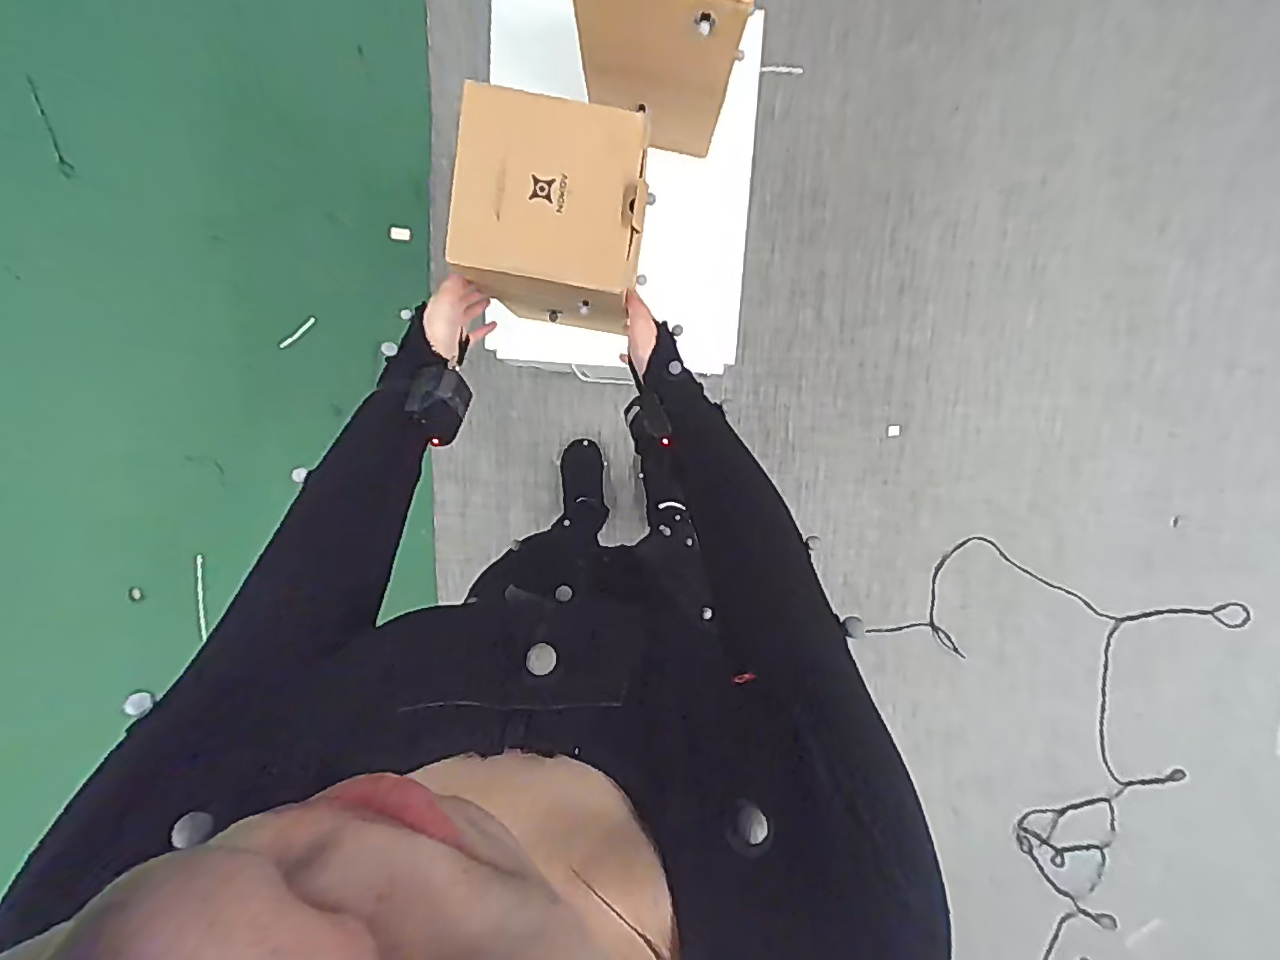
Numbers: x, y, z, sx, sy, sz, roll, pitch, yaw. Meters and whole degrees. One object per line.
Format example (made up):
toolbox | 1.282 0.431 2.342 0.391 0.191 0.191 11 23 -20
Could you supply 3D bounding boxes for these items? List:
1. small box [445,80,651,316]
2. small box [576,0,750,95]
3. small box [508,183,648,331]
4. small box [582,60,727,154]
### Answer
small box | -0.090 -0.284 0.589 0.179 0.176 0.168 9 96 -2
small box | 0.029 -0.538 0.555 0.179 0.176 0.168 10 98 -3
small box | -0.091 -0.309 0.749 0.179 0.176 0.168 9 98 -4
small box | 0.030 -0.565 0.716 0.179 0.176 0.168 10 99 -2
